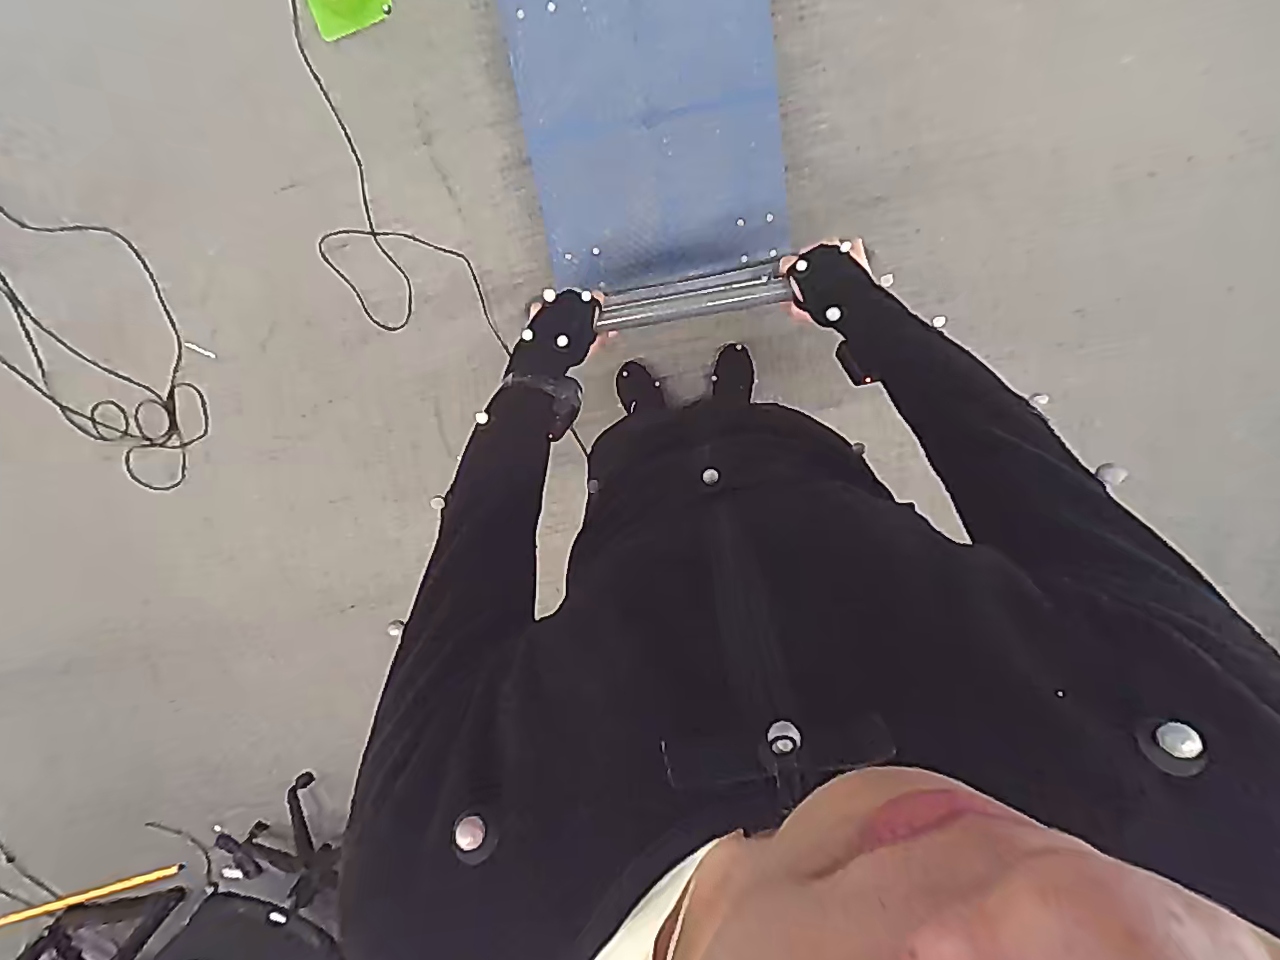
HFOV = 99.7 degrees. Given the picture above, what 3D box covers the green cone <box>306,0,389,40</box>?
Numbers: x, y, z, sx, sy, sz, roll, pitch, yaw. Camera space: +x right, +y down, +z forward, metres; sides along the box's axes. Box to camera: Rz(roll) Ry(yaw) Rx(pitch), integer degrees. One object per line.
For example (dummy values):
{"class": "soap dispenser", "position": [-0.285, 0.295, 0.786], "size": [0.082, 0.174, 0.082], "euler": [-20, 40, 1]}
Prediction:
{"class": "green cone", "position": [-0.742, -1.159, 1.147], "size": [0.202, 0.368, 0.200], "euler": [-16, 106, 10]}
